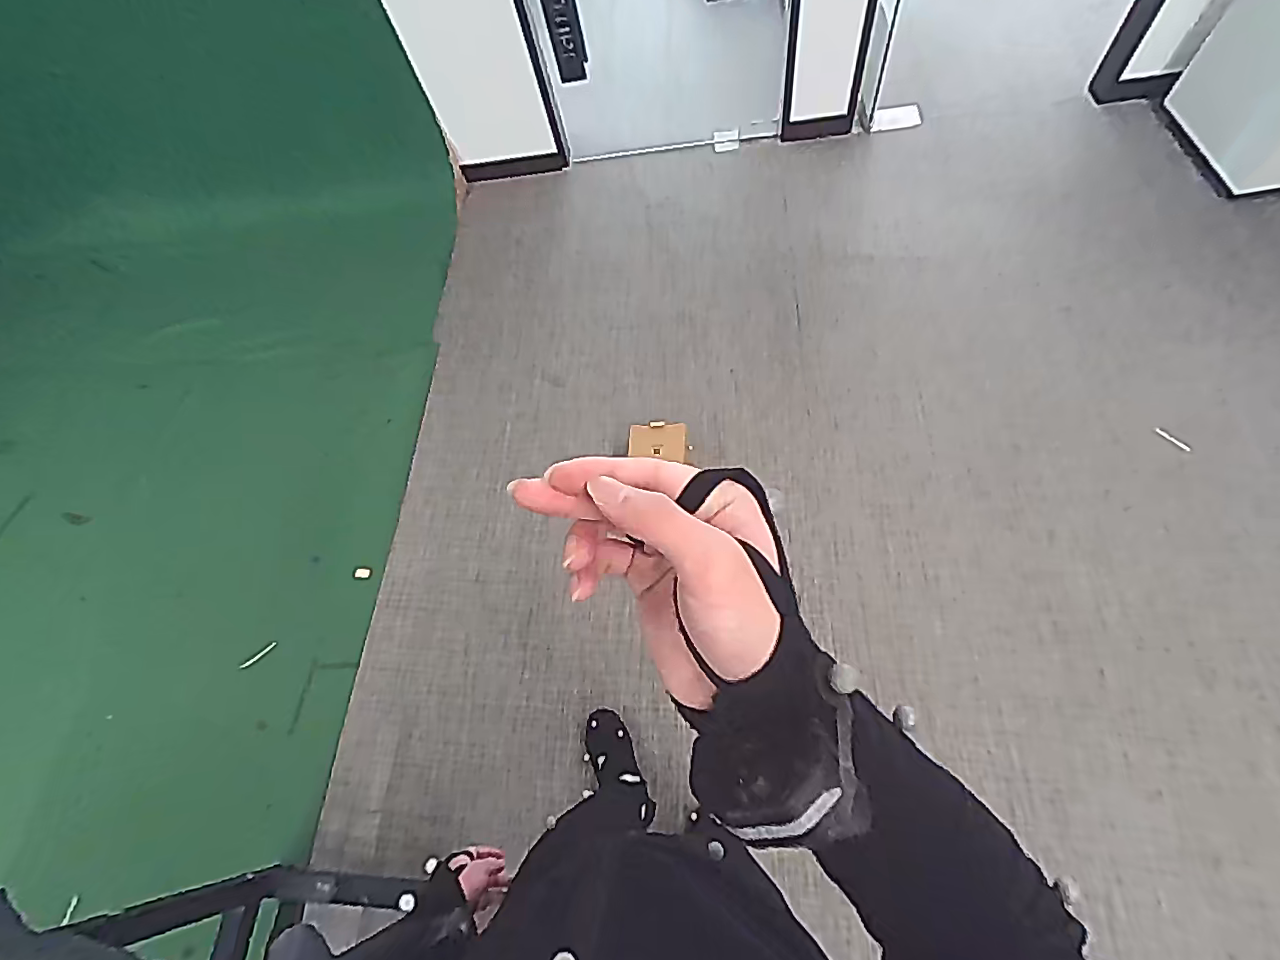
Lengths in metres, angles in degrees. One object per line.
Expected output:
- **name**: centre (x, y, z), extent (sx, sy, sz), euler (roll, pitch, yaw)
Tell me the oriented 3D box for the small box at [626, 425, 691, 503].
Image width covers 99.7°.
- **small box**: centre (0.060, -0.046, 1.601), extent (0.168, 0.176, 0.179), euler (-1, 64, 12)
